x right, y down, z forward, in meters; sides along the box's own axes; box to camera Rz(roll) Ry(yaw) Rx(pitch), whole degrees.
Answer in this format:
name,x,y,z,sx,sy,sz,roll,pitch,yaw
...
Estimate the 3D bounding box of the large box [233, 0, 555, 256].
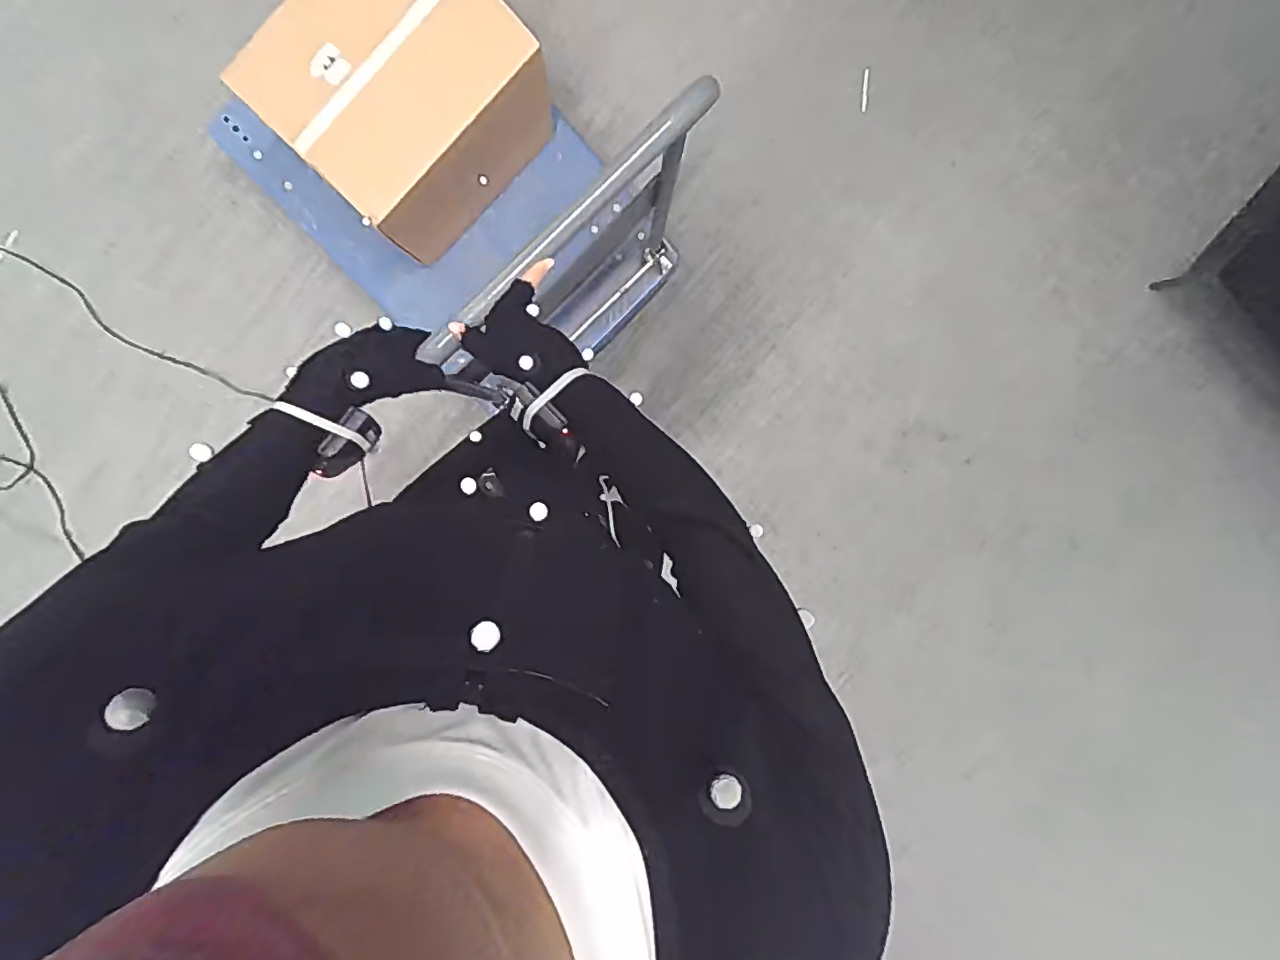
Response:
name,x,y,z,sx,sy,sz,roll,pitch,yaw
large box,-0.412,-0.706,1.010,0.320,0.320,0.408,44,94,-9
